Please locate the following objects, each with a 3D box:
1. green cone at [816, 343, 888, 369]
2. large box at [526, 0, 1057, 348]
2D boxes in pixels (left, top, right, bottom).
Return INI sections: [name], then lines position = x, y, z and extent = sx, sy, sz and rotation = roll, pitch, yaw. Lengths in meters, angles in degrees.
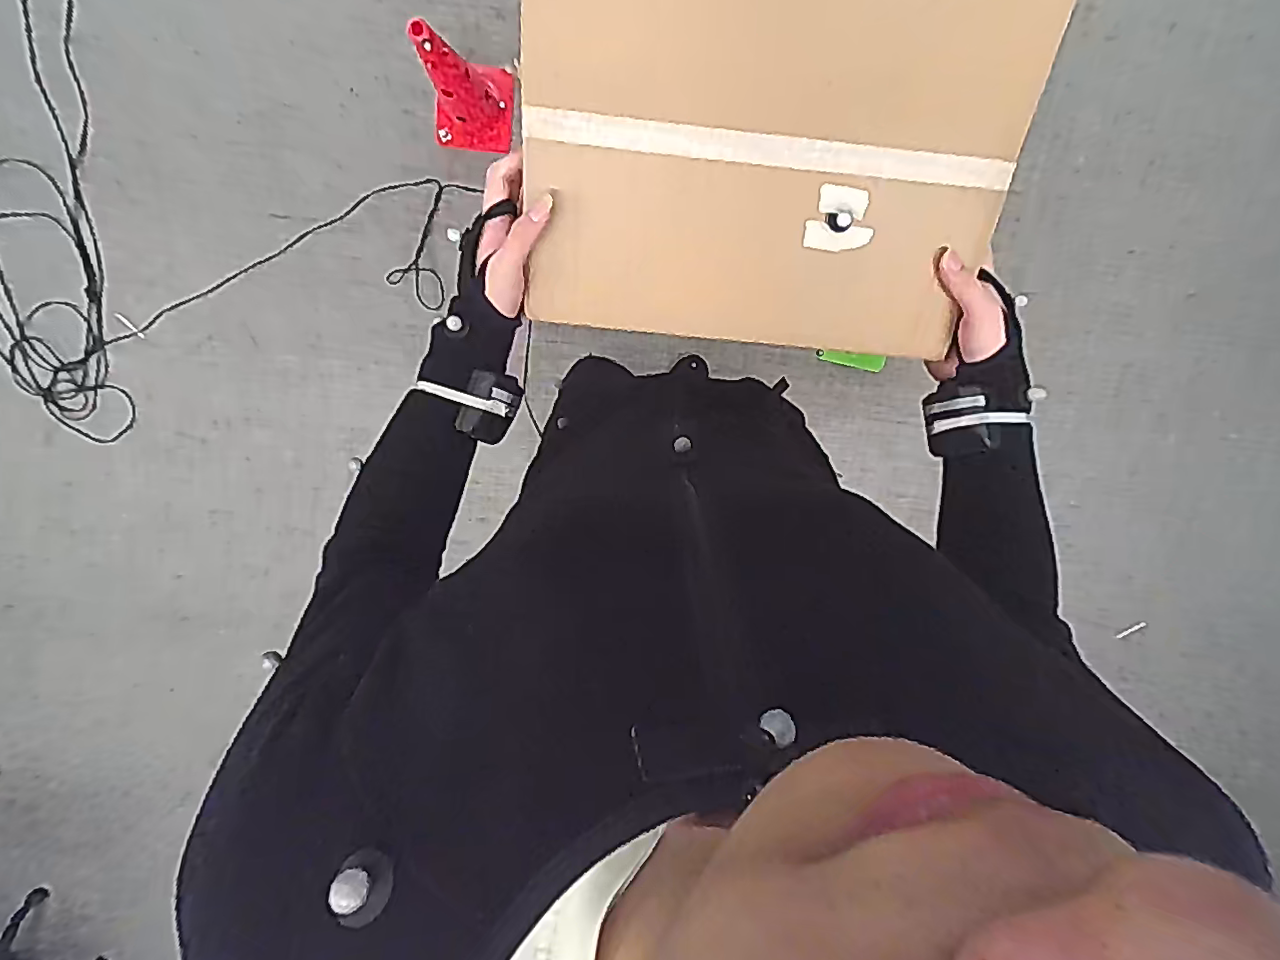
[green cone]
position = 0.607, -0.391, 1.346
extent = 0.200, 0.368, 0.202
rotation = 11, 101, -2
[large box]
position = 0.102, -0.342, 0.579
extent = 0.408, 0.320, 0.320
rotation = 3, 119, -4
